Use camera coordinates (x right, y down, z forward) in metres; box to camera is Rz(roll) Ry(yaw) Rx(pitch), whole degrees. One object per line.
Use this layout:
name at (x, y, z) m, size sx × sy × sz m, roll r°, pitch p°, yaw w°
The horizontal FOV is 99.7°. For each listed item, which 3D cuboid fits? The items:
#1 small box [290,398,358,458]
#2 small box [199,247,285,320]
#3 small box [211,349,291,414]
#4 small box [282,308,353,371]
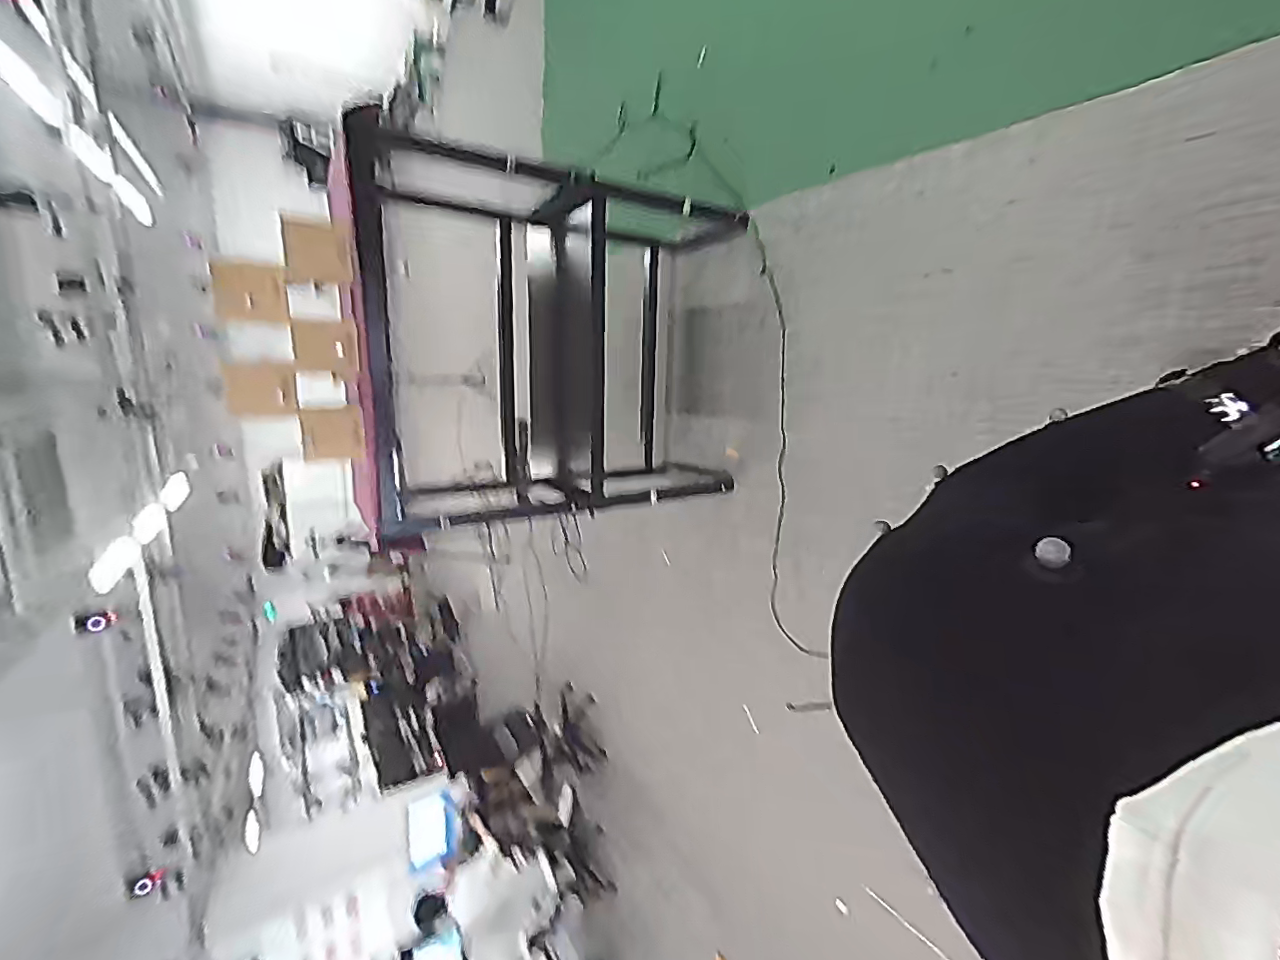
small box at (-0.957, -0.162, 1.641) m, size 0.179 × 0.176 × 0.168 m, roll 18°, pitch 110°, yaw 57°
small box at (-1.079, -0.531, 1.479) m, size 0.179 × 0.176 × 0.168 m, roll 21°, pitch 112°, yaw 56°
small box at (-1.093, -0.280, 1.534) m, size 0.179 × 0.176 × 0.168 m, roll 22°, pitch 114°, yaw 55°
small box at (-0.949, -0.411, 1.594) m, size 0.179 × 0.176 × 0.168 m, roll 19°, pitch 111°, yaw 55°
